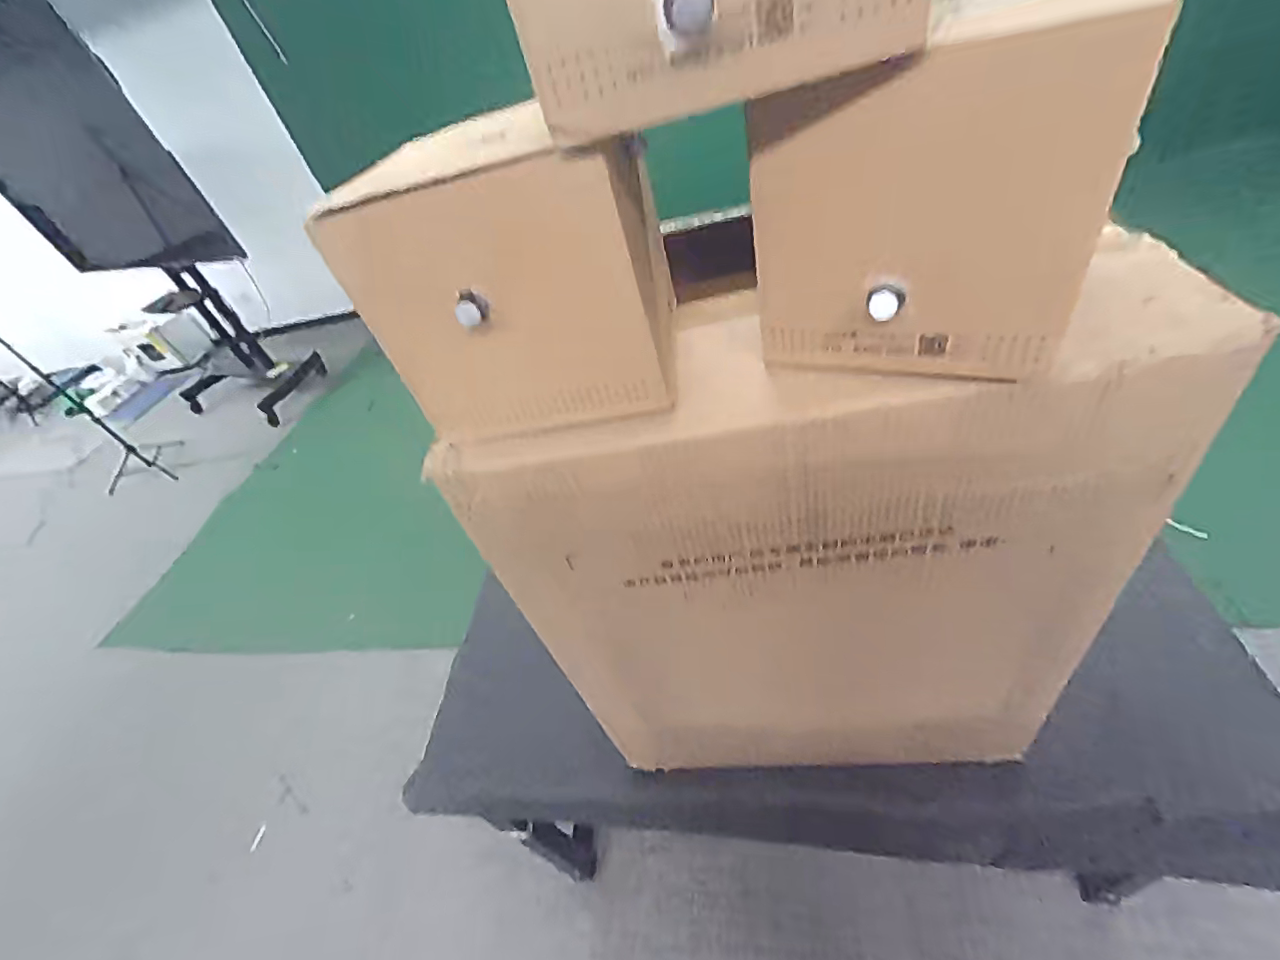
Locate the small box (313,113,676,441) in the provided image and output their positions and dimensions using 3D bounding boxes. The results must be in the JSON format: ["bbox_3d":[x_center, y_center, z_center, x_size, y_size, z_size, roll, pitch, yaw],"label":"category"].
[{"bbox_3d":[-0.079,-0.146,0.397,0.179,0.176,0.168,-8,44,13],"label":"small box"}]

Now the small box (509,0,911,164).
[{"bbox_3d":[0.020,-0.276,0.255,0.168,0.176,0.179,-11,44,10],"label":"small box"}]
